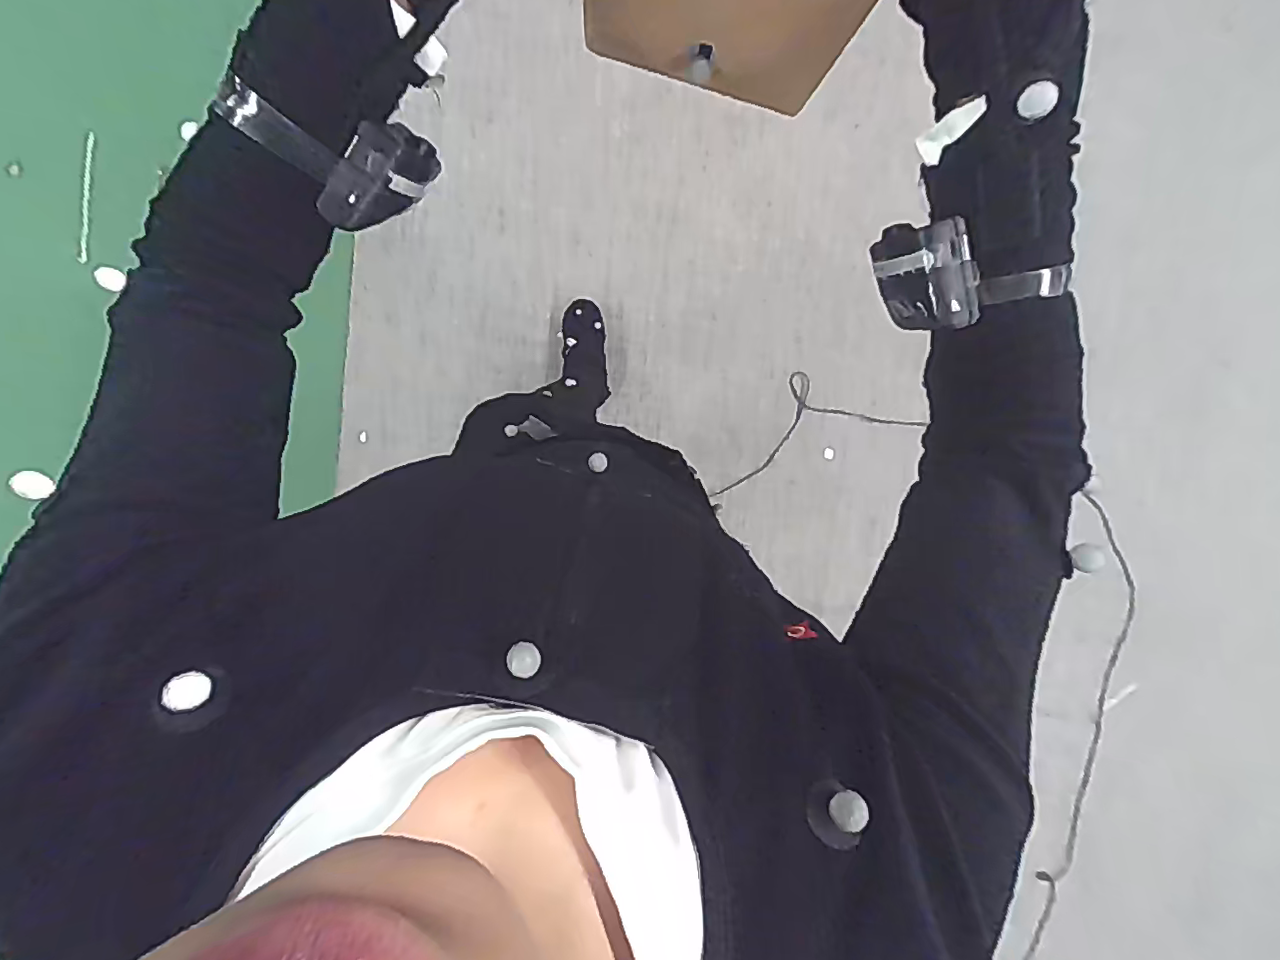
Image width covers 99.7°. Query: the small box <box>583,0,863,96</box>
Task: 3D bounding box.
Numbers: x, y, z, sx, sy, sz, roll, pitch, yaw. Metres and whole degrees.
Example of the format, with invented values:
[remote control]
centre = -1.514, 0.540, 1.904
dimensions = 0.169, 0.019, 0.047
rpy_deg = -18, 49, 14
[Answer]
[small box]
centre = 0.067, -0.382, 0.332
dimensions = 0.179, 0.176, 0.168
rpy_deg = 13, 96, -8
